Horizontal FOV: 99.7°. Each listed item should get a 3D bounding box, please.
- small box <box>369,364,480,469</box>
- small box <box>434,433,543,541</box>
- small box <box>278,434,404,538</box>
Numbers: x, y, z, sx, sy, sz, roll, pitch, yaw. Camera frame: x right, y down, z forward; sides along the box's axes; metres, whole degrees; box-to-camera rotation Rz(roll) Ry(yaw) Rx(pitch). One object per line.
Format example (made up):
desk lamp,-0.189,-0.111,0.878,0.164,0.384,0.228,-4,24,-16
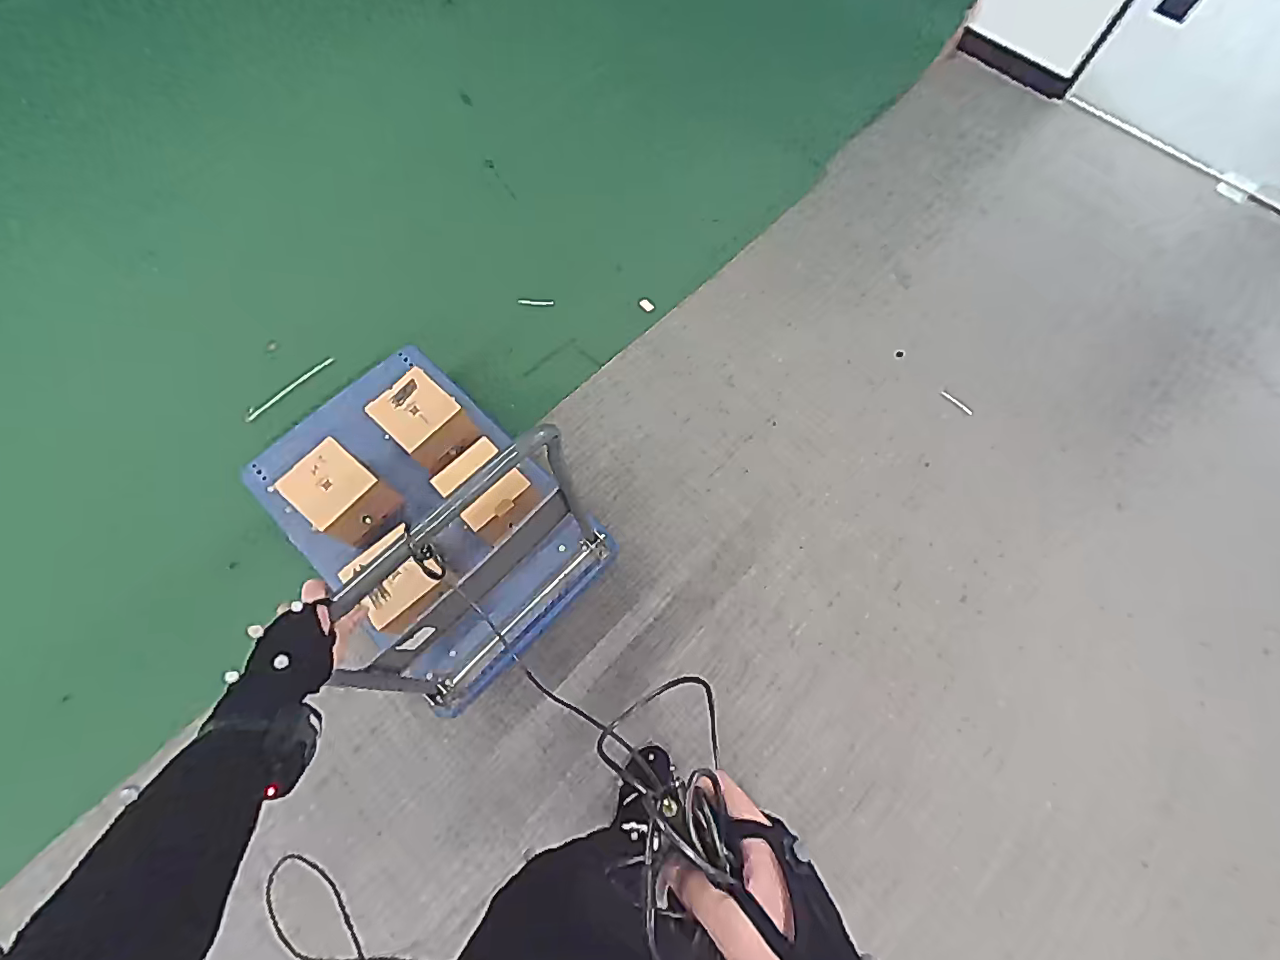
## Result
small box,-0.542,-0.155,1.380,0.179,0.176,0.168,41,76,12
small box,-0.361,0.025,1.318,0.168,0.176,0.179,-43,77,-14
small box,-0.714,0.025,1.317,0.179,0.176,0.168,39,74,12
